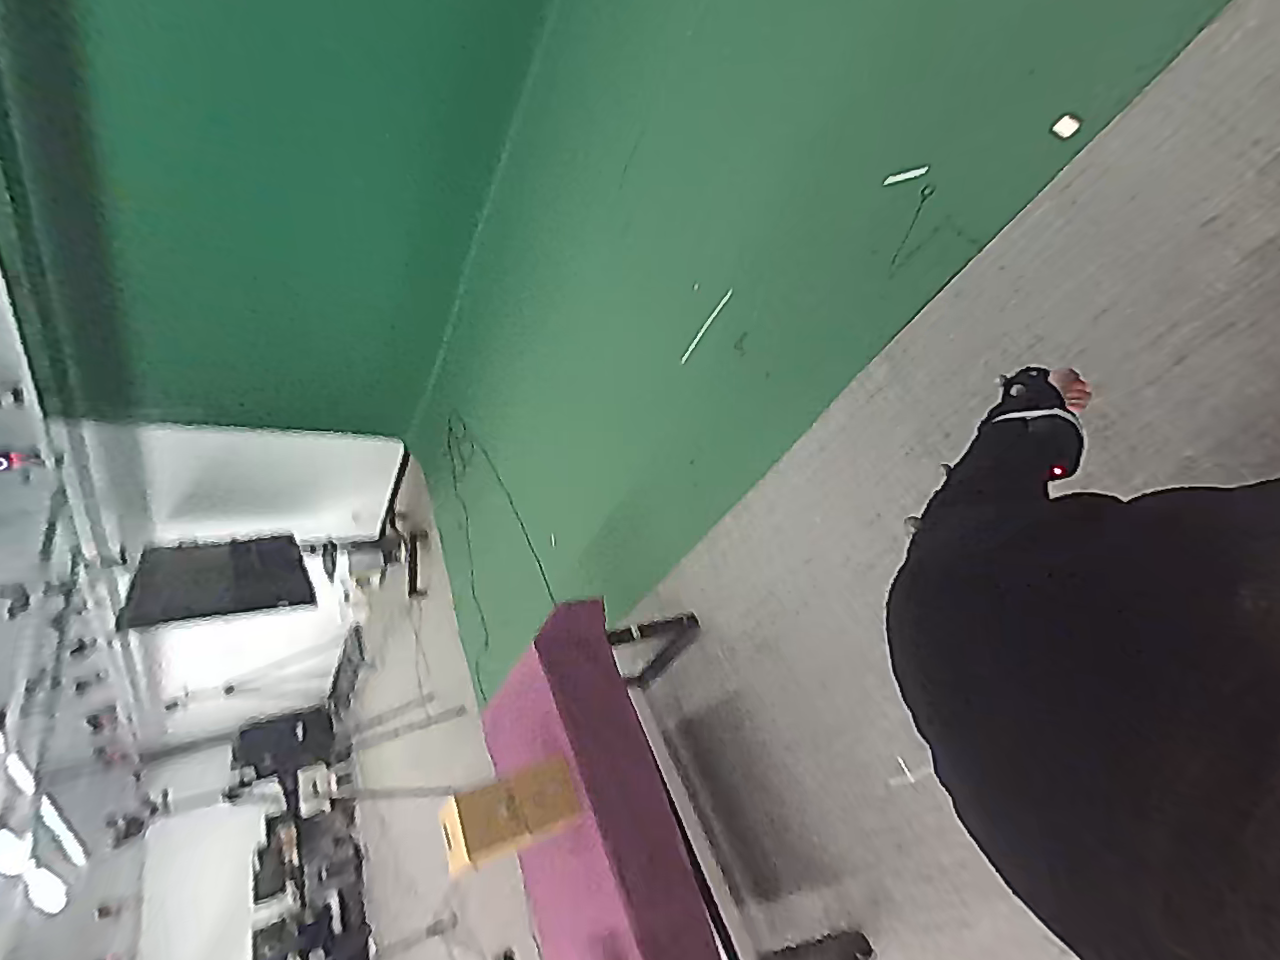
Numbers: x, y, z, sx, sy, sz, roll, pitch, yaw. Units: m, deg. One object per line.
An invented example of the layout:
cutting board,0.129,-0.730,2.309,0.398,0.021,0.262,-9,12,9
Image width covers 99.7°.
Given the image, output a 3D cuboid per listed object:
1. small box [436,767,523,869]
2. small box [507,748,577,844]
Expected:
small box,-0.438,0.918,1.475,0.179,0.176,0.168,-56,50,35
small box,-0.304,0.913,1.571,0.168,0.176,0.179,-53,51,37
